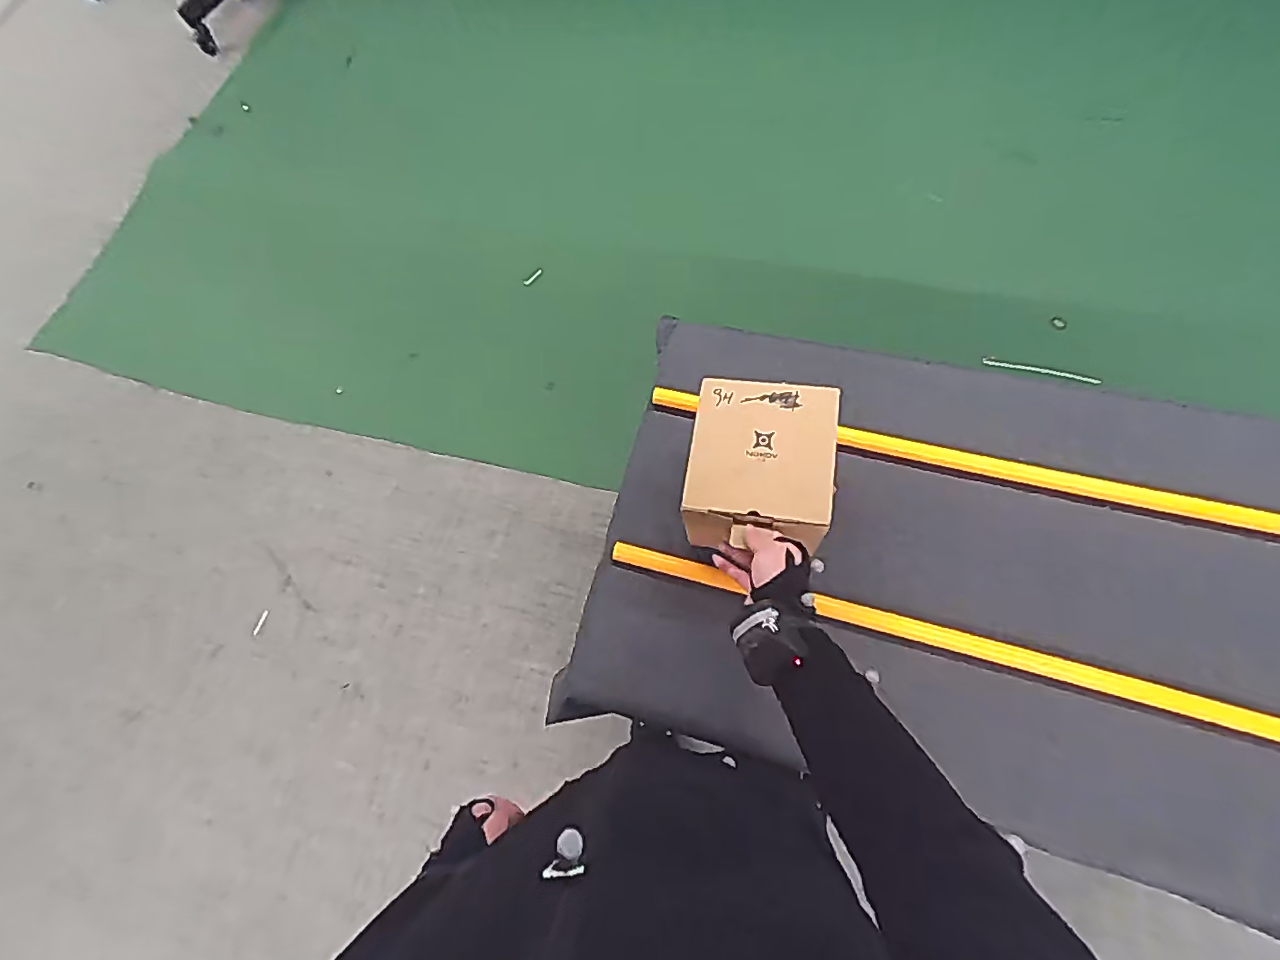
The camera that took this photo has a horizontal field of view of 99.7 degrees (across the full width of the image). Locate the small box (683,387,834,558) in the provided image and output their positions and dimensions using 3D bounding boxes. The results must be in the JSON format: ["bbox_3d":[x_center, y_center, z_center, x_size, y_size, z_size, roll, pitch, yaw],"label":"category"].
[{"bbox_3d":[0.156,-0.003,0.705,0.168,0.176,0.179,3,69,13],"label":"small box"}]
